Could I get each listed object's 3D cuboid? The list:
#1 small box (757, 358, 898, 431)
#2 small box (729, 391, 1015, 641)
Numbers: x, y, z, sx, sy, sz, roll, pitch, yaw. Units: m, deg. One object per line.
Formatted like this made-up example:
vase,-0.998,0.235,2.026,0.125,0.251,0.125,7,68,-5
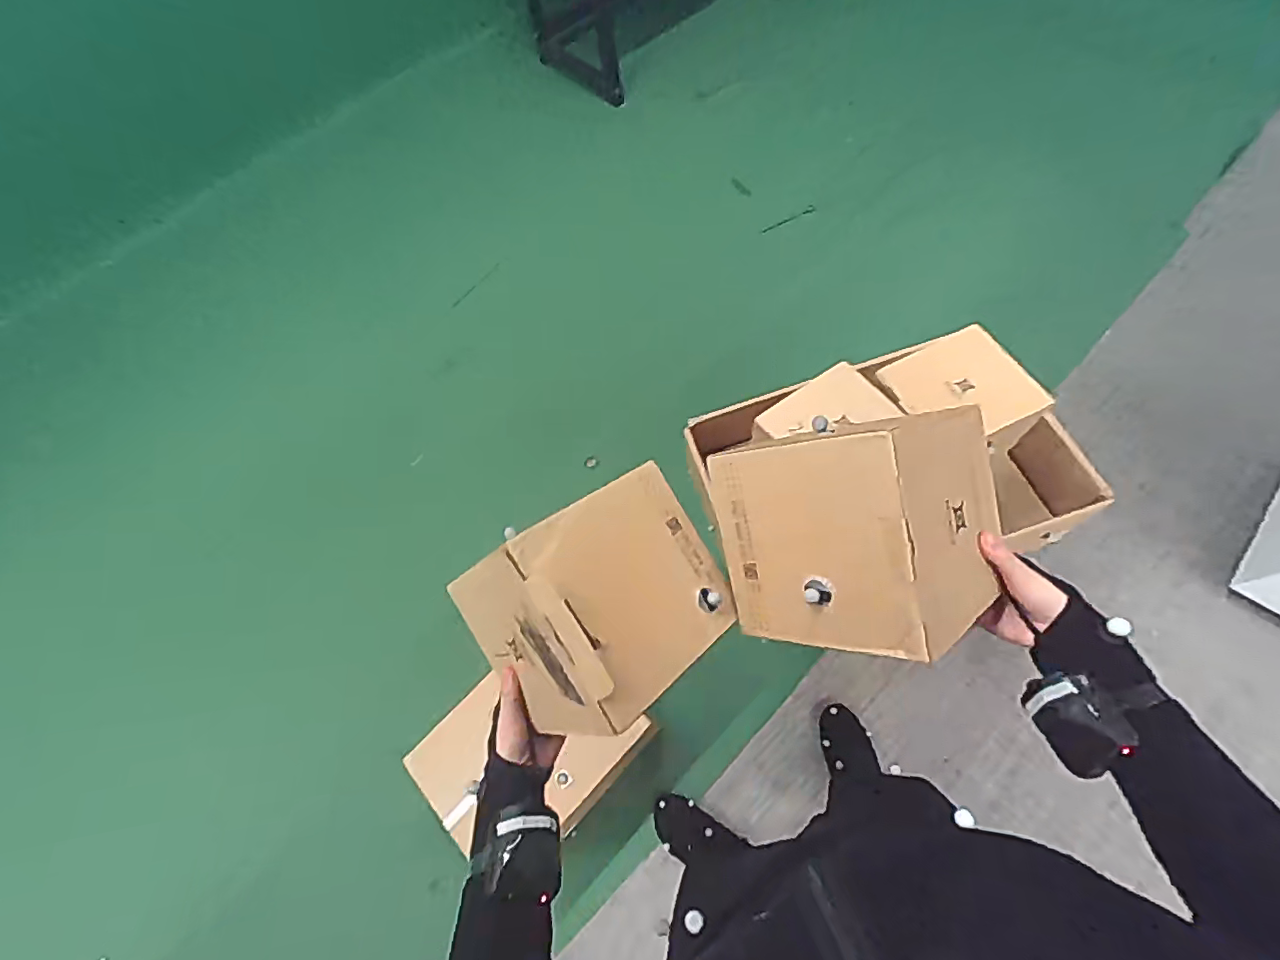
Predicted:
small box,0.291,-0.050,0.848,0.179,0.176,0.168,-33,65,-9
small box,0.195,0.024,0.477,0.179,0.176,0.168,-14,95,-39
